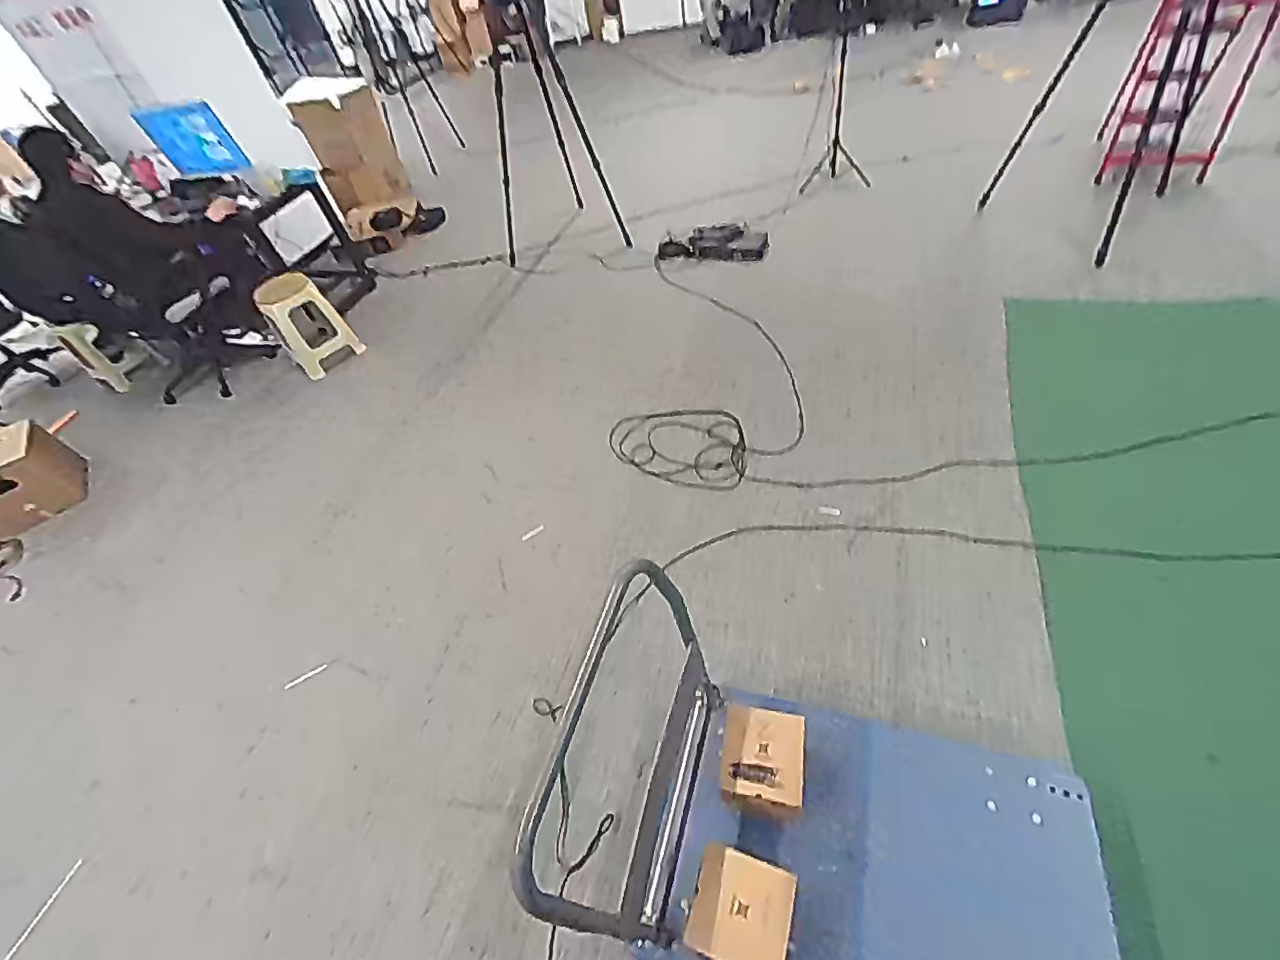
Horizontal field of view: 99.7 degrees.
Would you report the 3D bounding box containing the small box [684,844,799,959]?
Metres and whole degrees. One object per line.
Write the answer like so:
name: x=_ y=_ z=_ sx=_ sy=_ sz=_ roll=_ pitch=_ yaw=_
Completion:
small box: x=0.197 y=0.830 z=1.028 sx=0.179 sy=0.176 sz=0.168 roll=10 pitch=52 yaw=21
